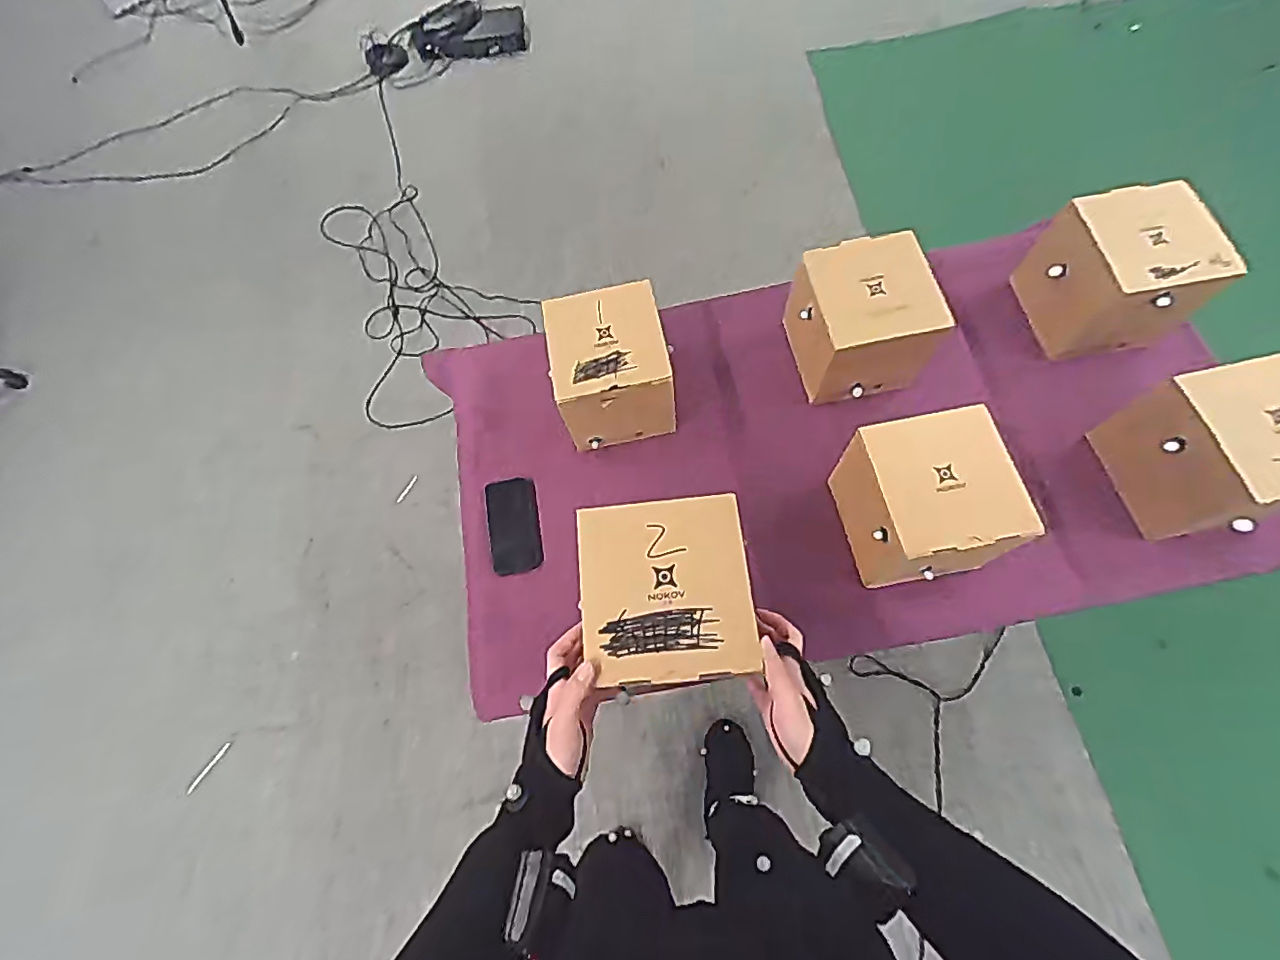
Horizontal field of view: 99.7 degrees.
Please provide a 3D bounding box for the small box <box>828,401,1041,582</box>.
[{"bbox_3d":[0.370,0.023,0.722,0.168,0.176,0.179,-11,68,1],"label":"small box"}]

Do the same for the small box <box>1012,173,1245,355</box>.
[{"bbox_3d":[0.711,-0.318,0.818,0.168,0.176,0.179,-10,68,3],"label":"small box"}]

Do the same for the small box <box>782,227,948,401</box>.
[{"bbox_3d":[0.327,-0.246,0.830,0.168,0.176,0.179,-11,69,2],"label":"small box"}]

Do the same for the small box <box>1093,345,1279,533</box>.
[{"bbox_3d":[0.756,-0.047,0.706,0.168,0.176,0.179,-13,69,2],"label":"small box"}]

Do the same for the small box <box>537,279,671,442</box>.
[{"bbox_3d":[-0.049,-0.171,0.836,0.168,0.176,0.179,-12,68,1],"label":"small box"}]
